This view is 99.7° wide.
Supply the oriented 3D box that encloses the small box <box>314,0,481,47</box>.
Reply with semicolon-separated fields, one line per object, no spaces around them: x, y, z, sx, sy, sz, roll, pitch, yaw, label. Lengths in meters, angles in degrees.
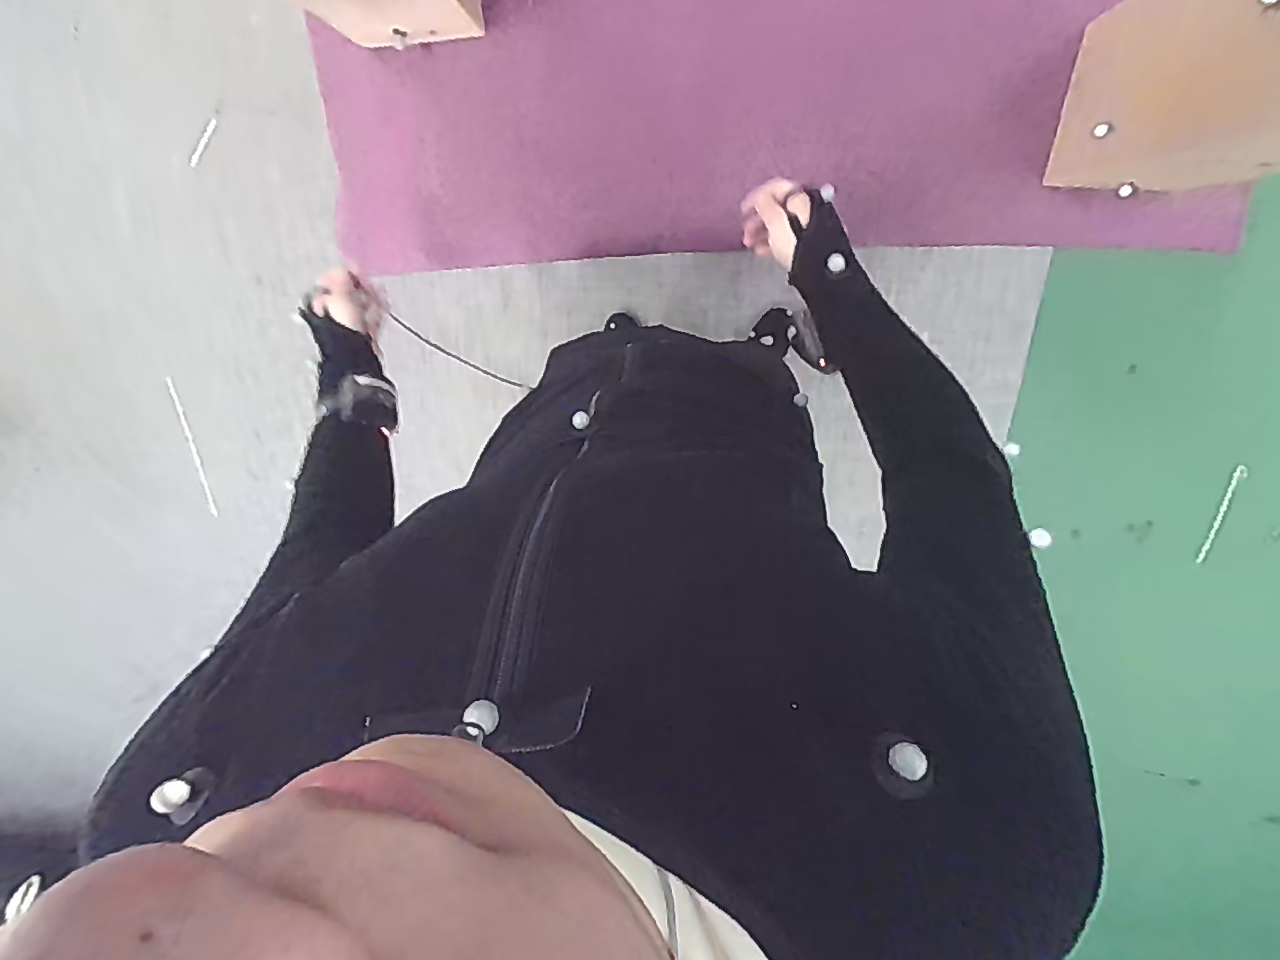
-0.292;-0.620;0.596;0.168;0.176;0.179;-2;112;6;small box
